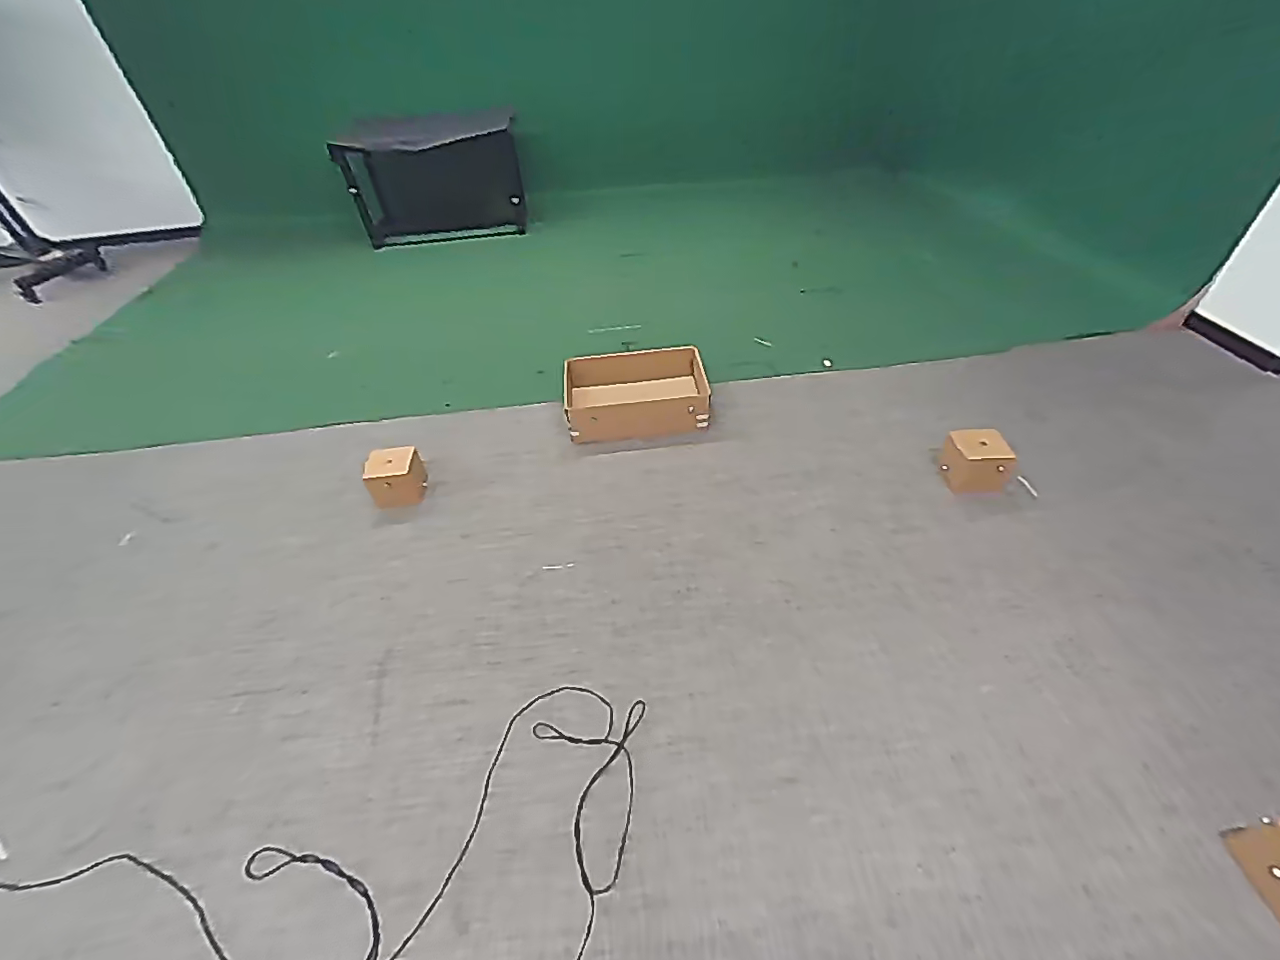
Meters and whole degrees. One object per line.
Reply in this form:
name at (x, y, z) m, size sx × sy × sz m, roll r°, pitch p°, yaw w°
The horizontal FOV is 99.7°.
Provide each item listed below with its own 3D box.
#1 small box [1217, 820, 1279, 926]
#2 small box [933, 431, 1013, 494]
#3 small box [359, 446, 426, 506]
small box at (1.378, 0.810, 1.106) m, size 0.168 × 0.176 × 0.179 m, roll -6°, pitch 43°, yaw -1°
small box at (1.232, -0.063, 2.017) m, size 0.179 × 0.176 × 0.168 m, roll -3°, pitch 43°, yaw 2°
small box at (-0.973, -0.012, 2.139) m, size 0.179 × 0.176 × 0.168 m, roll -6°, pitch 45°, yaw -4°
